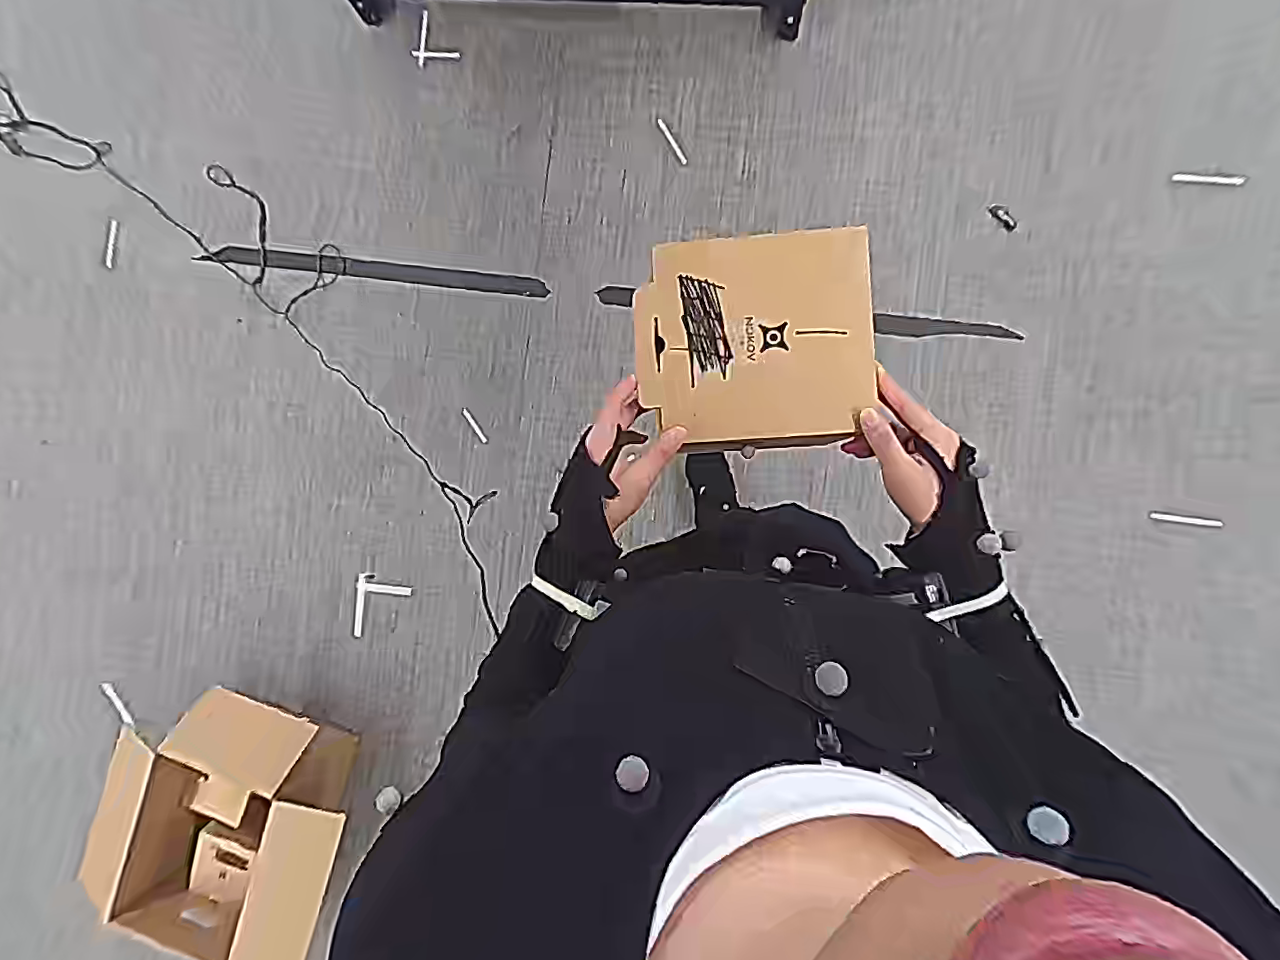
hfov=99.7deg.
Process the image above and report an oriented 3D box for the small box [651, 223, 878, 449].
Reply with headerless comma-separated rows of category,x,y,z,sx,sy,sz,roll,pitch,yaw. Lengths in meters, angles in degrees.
small box,0.106,-0.120,0.517,0.179,0.176,0.168,-3,90,4
